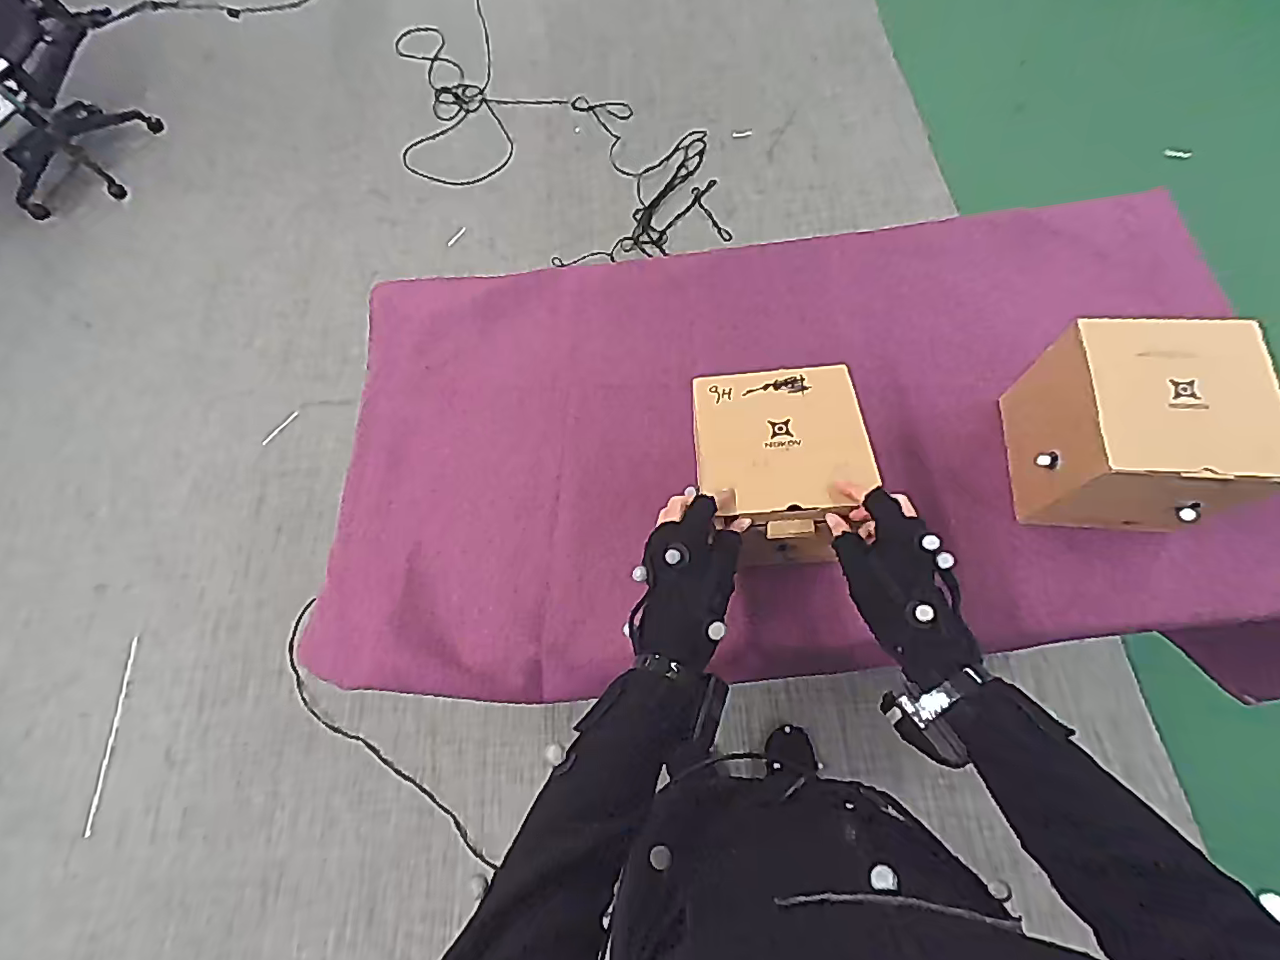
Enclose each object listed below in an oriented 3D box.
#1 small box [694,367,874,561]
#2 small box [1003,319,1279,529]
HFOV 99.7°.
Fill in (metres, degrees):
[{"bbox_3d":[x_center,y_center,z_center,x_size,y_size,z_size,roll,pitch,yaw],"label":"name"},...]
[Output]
[{"bbox_3d":[0.151,-0.006,0.625,0.168,0.176,0.179,-4,68,5],"label":"small box"},{"bbox_3d":[0.534,-0.053,0.594,0.168,0.176,0.179,4,69,9],"label":"small box"}]
